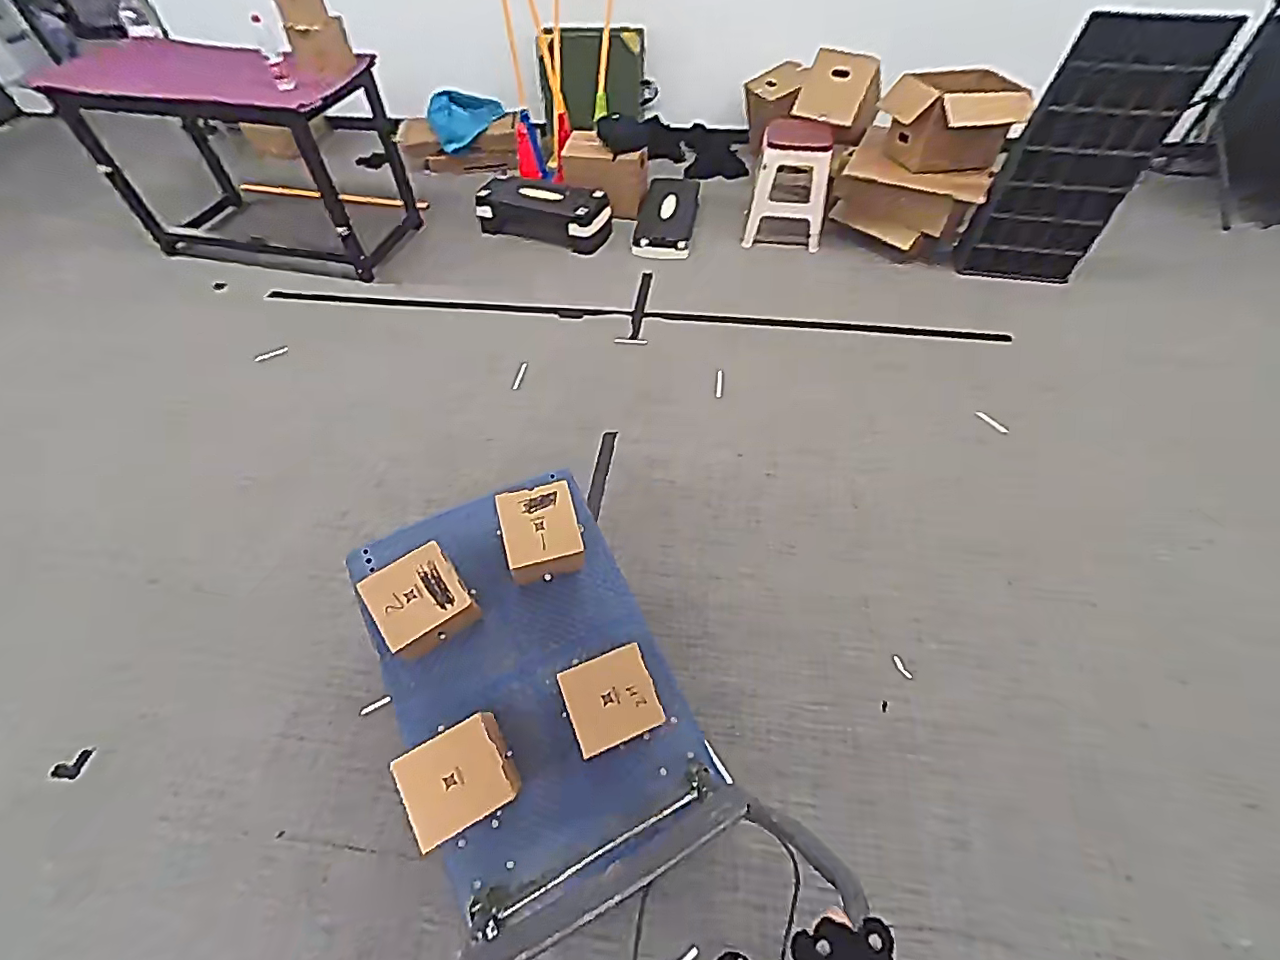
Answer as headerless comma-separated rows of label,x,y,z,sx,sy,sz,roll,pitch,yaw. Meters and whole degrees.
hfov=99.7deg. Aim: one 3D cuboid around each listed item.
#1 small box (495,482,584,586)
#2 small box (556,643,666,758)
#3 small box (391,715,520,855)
small box,-0.234,0.130,1.262,0.168,0.176,0.179,-13,70,-13
small box,-0.065,0.463,1.137,0.179,0.176,0.168,-19,71,-15
small box,-0.348,0.580,1.050,0.179,0.176,0.168,-26,72,-19
